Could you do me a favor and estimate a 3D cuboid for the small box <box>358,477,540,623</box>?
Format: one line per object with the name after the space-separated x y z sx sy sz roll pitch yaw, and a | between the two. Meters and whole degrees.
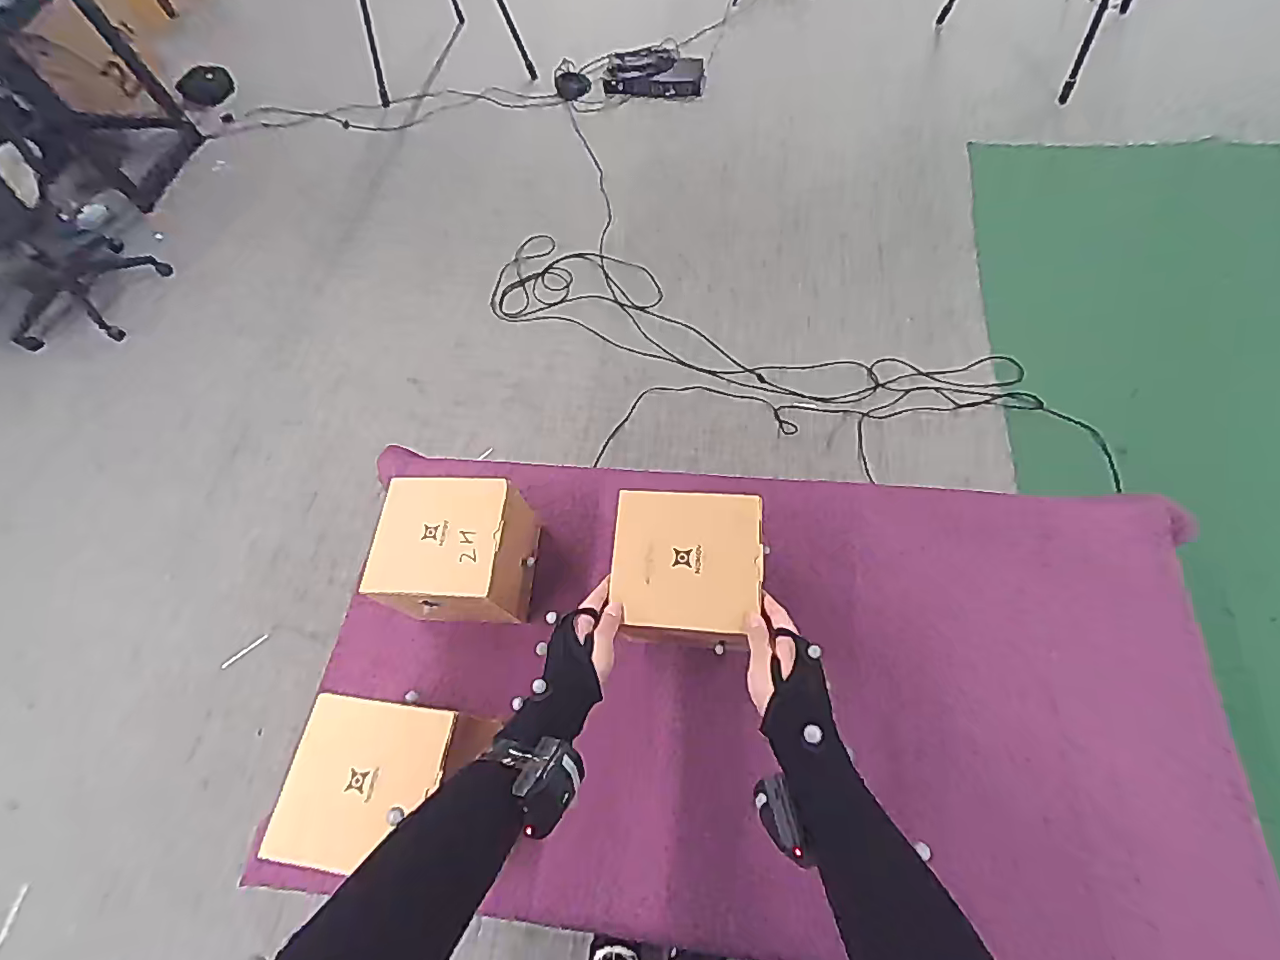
-0.261 0.107 0.783 0.179 0.176 0.168 1 64 7 | small box

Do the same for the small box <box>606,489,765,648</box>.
0.065 0.121 0.701 0.179 0.176 0.168 2 67 10 | small box

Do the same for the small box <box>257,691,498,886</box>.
-0.297 0.365 0.656 0.179 0.176 0.168 5 62 8 | small box
